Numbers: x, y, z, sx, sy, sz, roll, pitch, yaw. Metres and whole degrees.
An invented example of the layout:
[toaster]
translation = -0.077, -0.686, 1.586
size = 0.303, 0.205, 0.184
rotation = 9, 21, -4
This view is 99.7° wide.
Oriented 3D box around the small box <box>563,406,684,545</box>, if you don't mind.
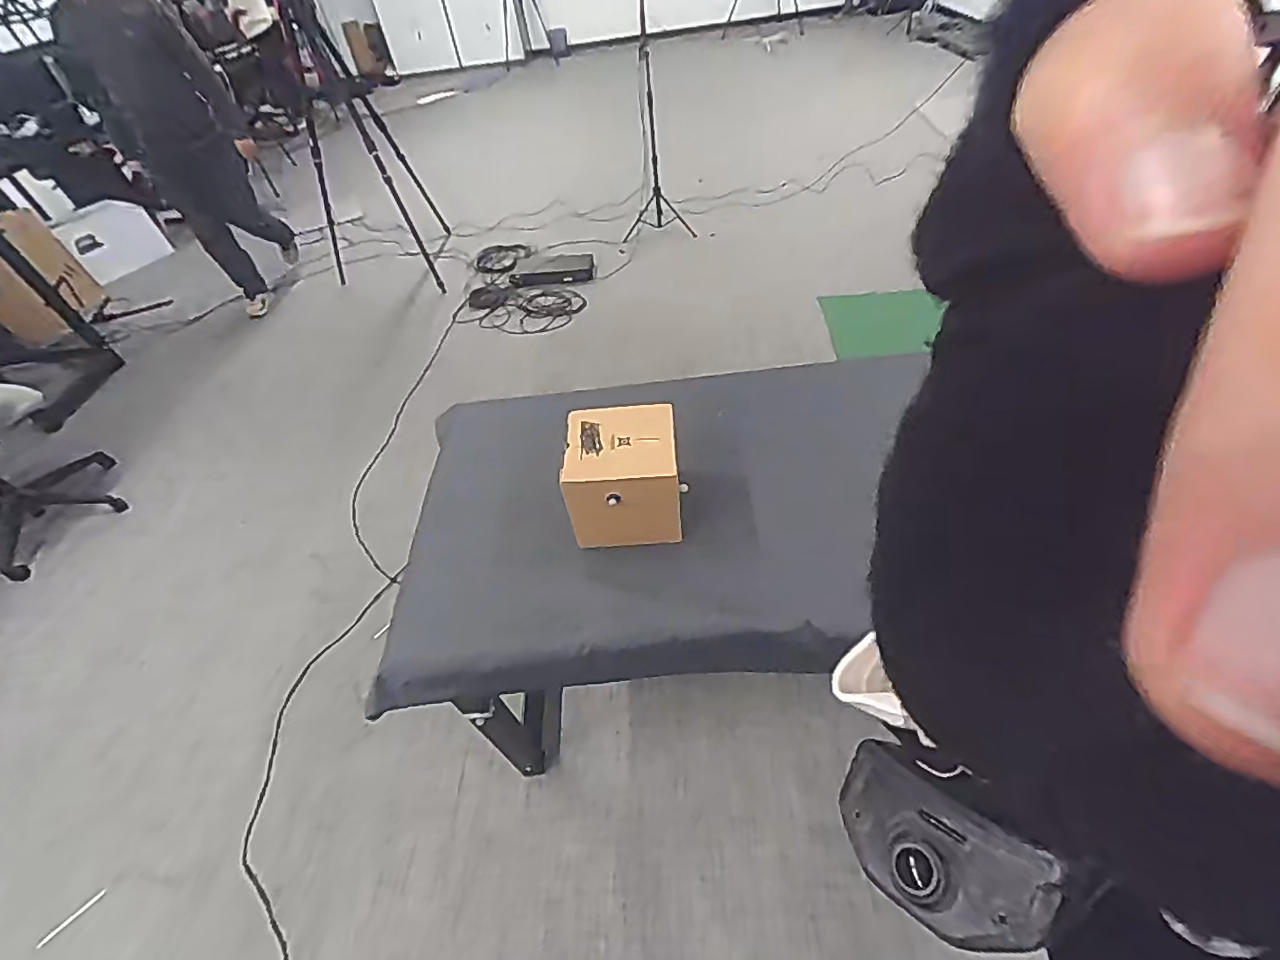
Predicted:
[small box]
translation = -0.020, -0.003, 0.908
size = 0.179, 0.176, 0.168
rotation = -4, 47, 4
